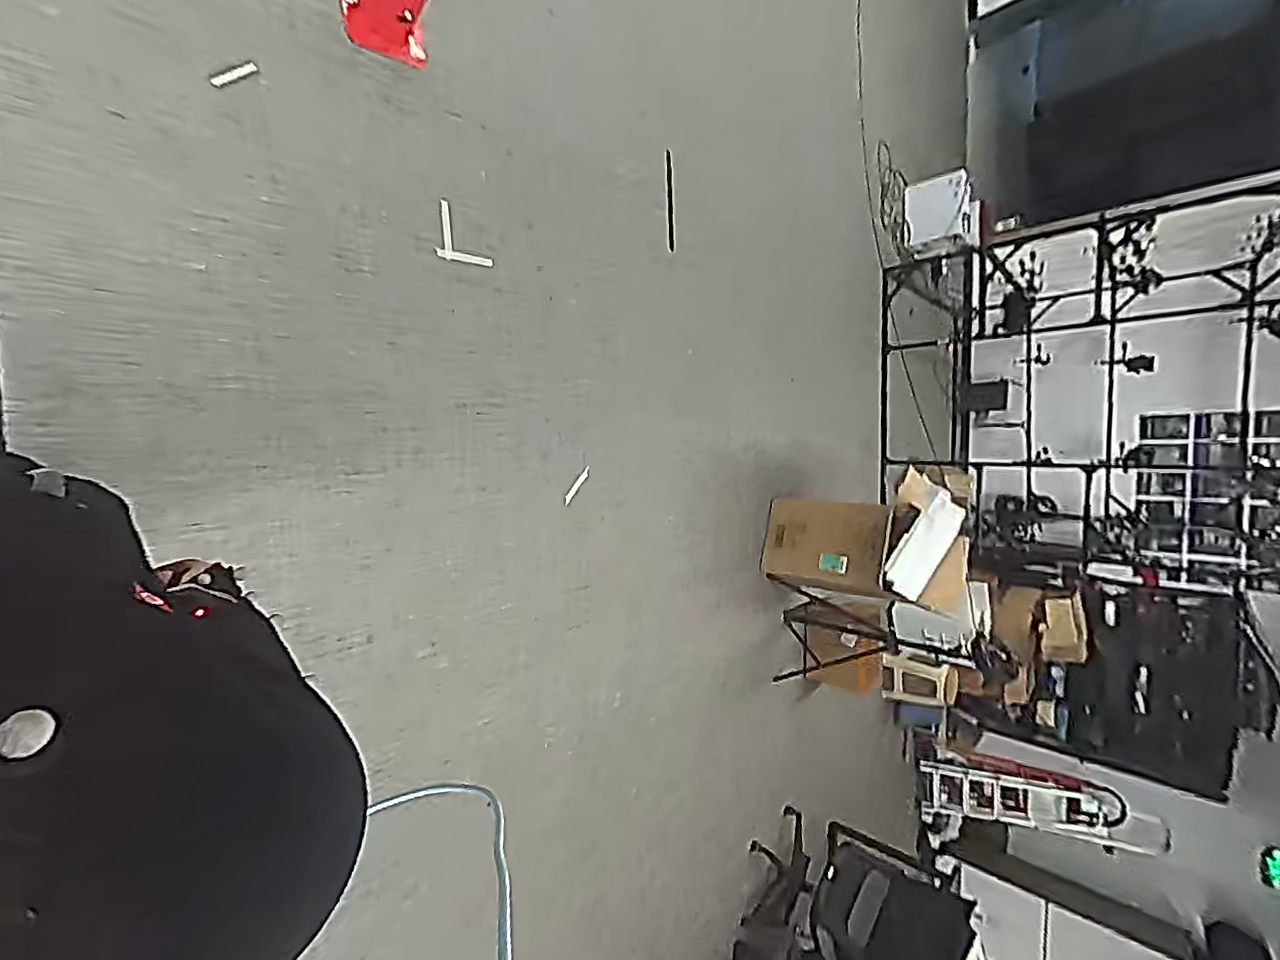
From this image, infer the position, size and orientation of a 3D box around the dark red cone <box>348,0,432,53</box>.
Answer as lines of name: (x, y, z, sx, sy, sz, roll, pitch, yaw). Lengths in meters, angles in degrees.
dark red cone: (-0.496, -1.167, 1.202, 0.201, 0.394, 0.202, -16, 104, -45)
